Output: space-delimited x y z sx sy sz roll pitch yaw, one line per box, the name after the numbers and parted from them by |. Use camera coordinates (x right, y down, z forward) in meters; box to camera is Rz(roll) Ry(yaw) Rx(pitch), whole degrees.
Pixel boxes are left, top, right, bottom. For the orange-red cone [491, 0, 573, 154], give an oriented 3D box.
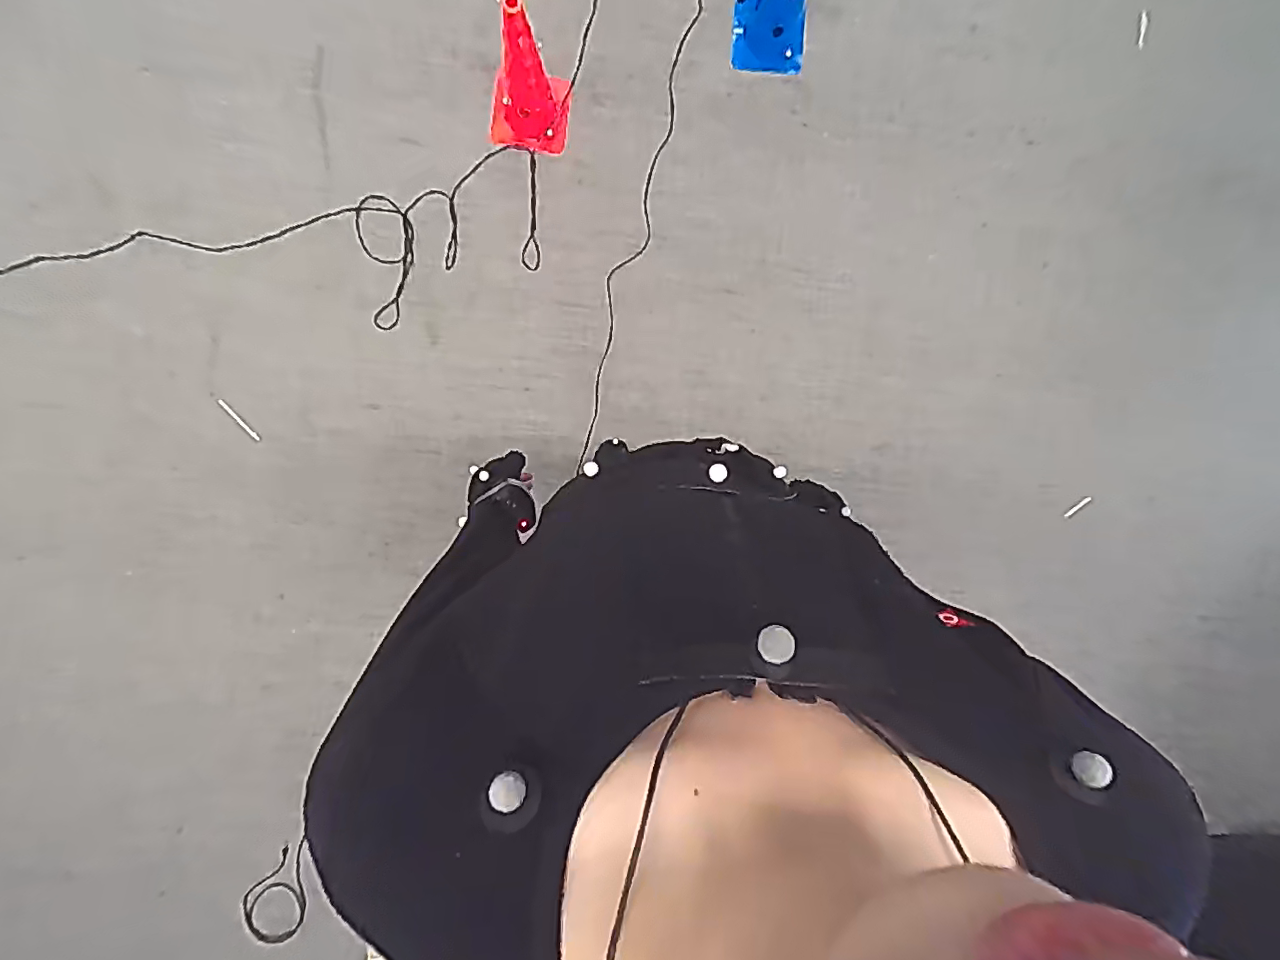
-0.271 -0.980 1.270 0.198 0.360 0.199 9 90 -6 | orange-red cone
